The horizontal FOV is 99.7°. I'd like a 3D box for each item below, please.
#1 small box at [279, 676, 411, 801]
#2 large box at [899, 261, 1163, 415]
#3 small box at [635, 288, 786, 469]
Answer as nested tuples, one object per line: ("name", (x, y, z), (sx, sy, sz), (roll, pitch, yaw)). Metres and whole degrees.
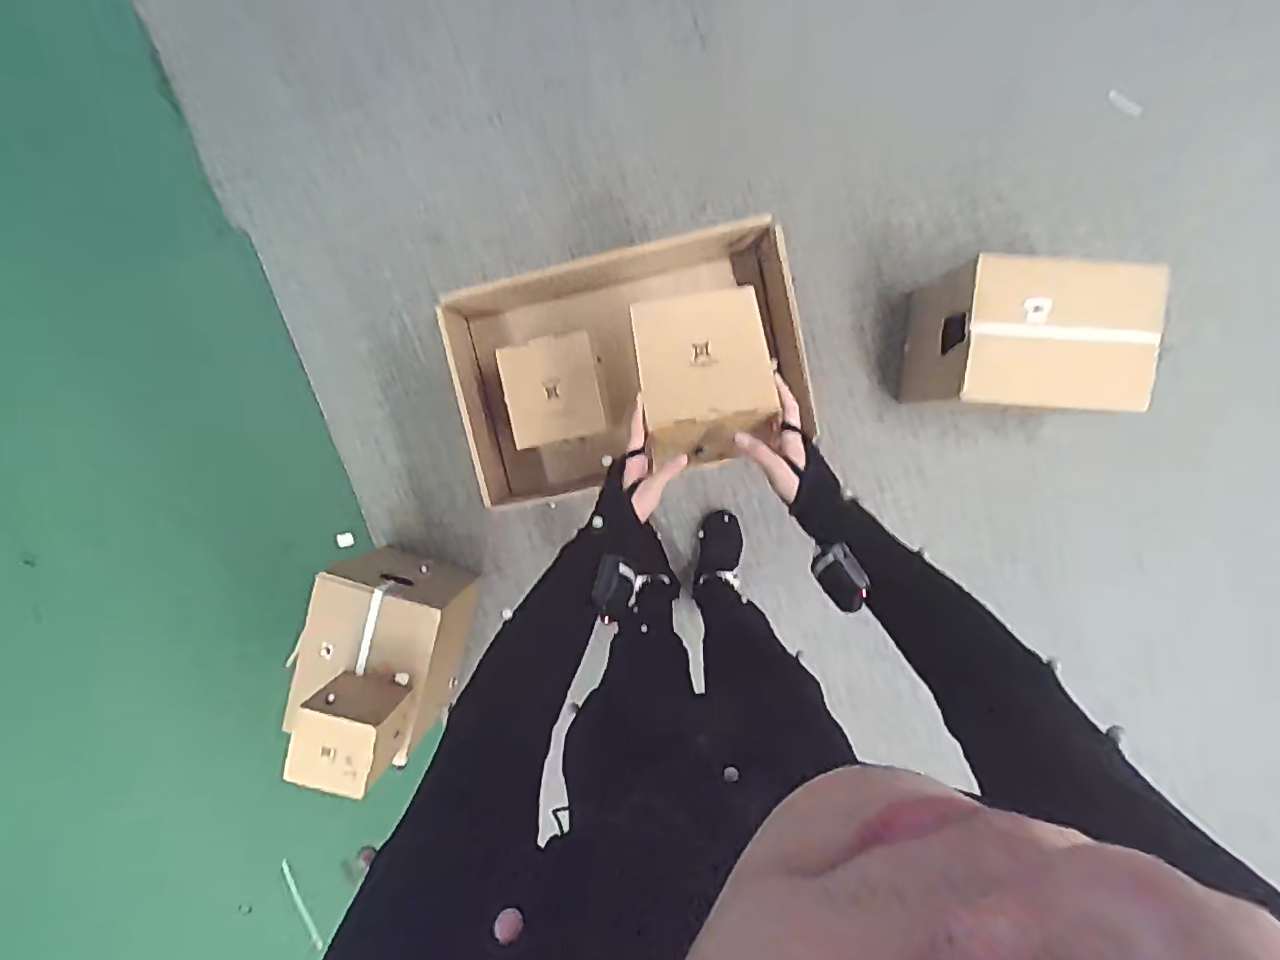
("small box", (-0.635, 0.553, 1.182), (0.179, 0.176, 0.168), (15, 95, -1))
("large box", (0.908, -0.321, 1.311), (0.408, 0.320, 0.320), (4, 95, 2))
("small box", (0.085, -0.130, 0.740), (0.168, 0.176, 0.179), (-8, 73, 0))
